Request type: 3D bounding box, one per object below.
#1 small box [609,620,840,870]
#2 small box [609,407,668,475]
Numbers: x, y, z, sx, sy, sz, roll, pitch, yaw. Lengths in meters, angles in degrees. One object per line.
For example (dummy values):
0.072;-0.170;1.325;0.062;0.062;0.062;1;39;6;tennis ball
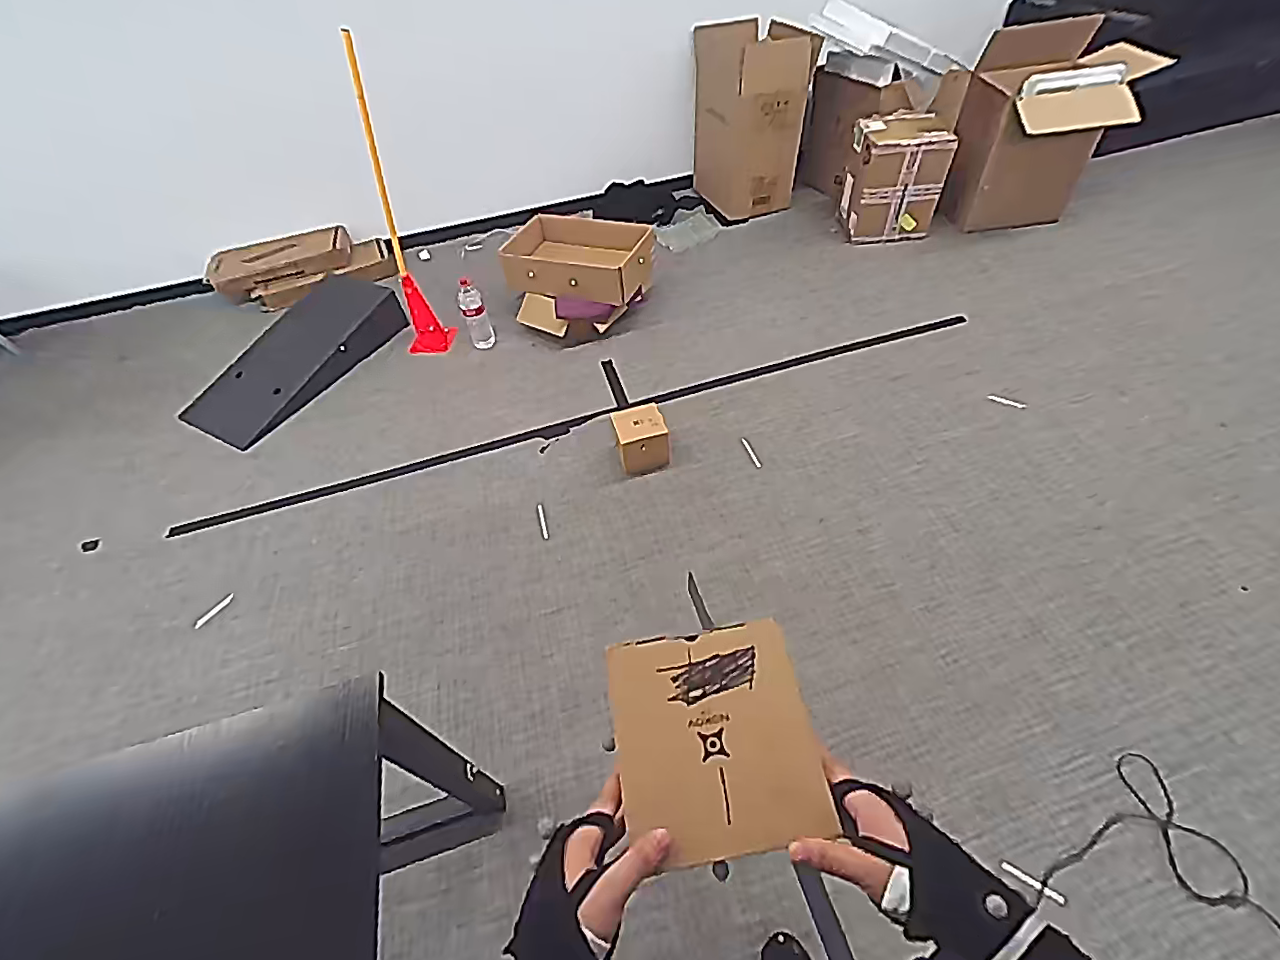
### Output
0.063;0.258;0.520;0.168;0.176;0.179;-8;56;-4;small box
-0.003;-0.139;1.988;0.179;0.176;0.168;-15;51;-8;small box
